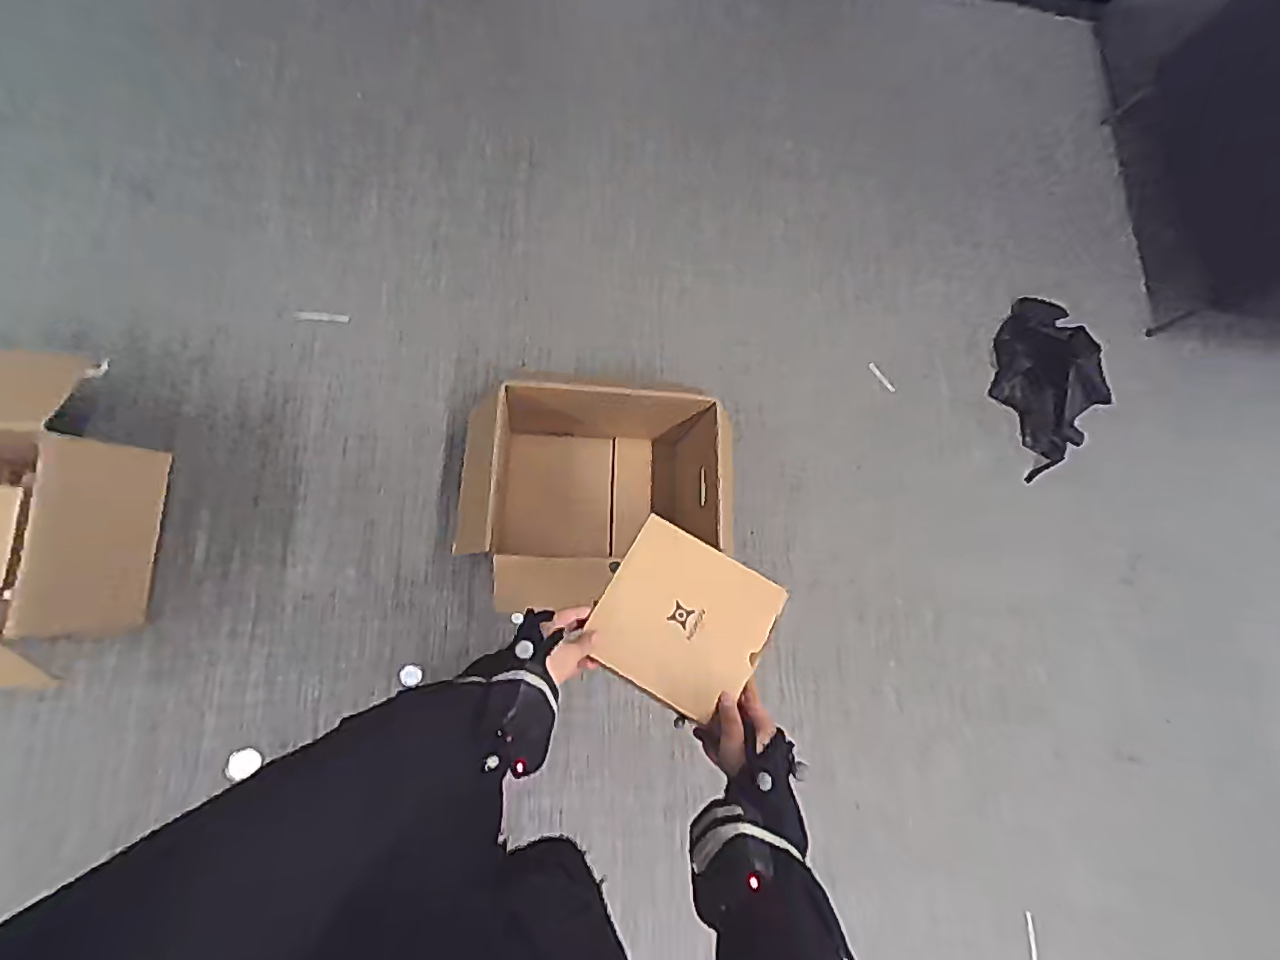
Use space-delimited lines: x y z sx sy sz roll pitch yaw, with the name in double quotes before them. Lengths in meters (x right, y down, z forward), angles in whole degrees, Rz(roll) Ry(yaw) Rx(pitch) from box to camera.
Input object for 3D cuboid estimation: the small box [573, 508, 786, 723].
"small box" 0.038 0.163 0.640 0.179 0.176 0.168 29 71 6
